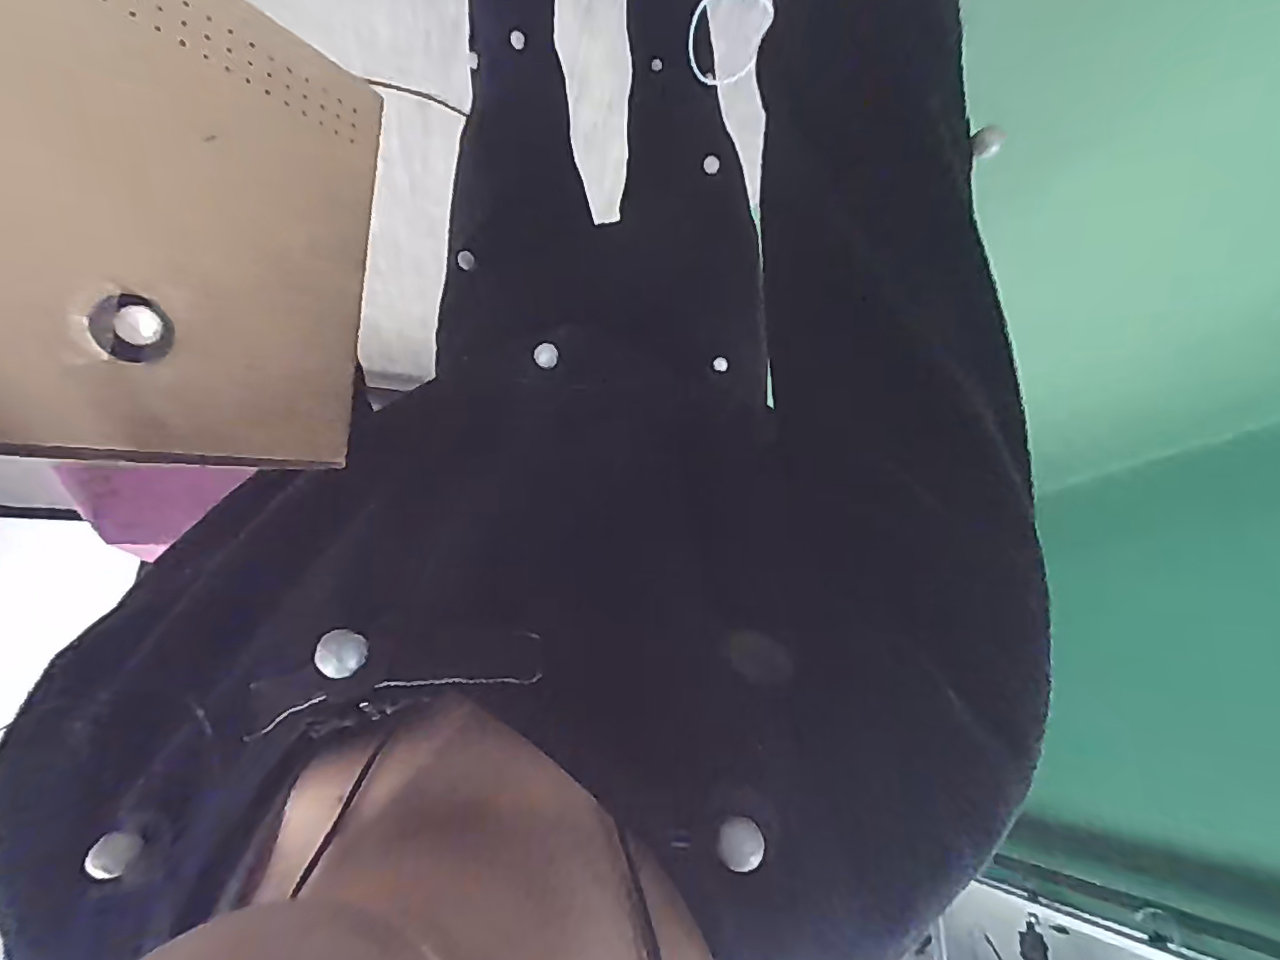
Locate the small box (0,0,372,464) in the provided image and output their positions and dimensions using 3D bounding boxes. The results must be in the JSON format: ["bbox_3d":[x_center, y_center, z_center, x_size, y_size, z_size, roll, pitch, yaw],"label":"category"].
[{"bbox_3d":[-0.227,-0.104,0.198,0.168,0.176,0.179,8,-179,30],"label":"small box"}]
